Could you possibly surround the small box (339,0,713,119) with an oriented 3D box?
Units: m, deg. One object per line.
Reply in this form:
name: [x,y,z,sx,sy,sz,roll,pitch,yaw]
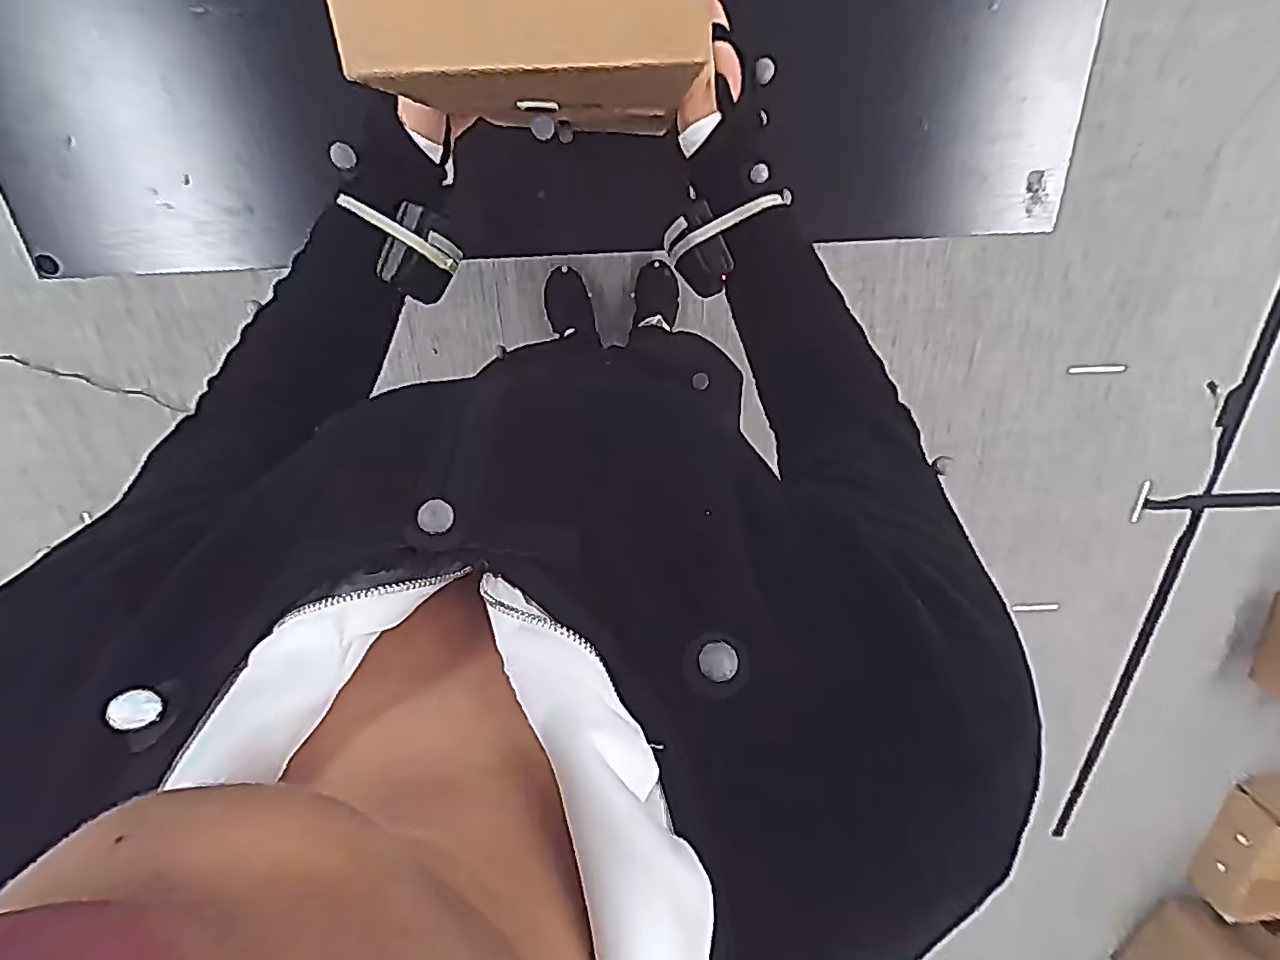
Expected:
small box: [-0.053,-0.301,0.278,0.168,0.176,0.179,-2,120,0]
